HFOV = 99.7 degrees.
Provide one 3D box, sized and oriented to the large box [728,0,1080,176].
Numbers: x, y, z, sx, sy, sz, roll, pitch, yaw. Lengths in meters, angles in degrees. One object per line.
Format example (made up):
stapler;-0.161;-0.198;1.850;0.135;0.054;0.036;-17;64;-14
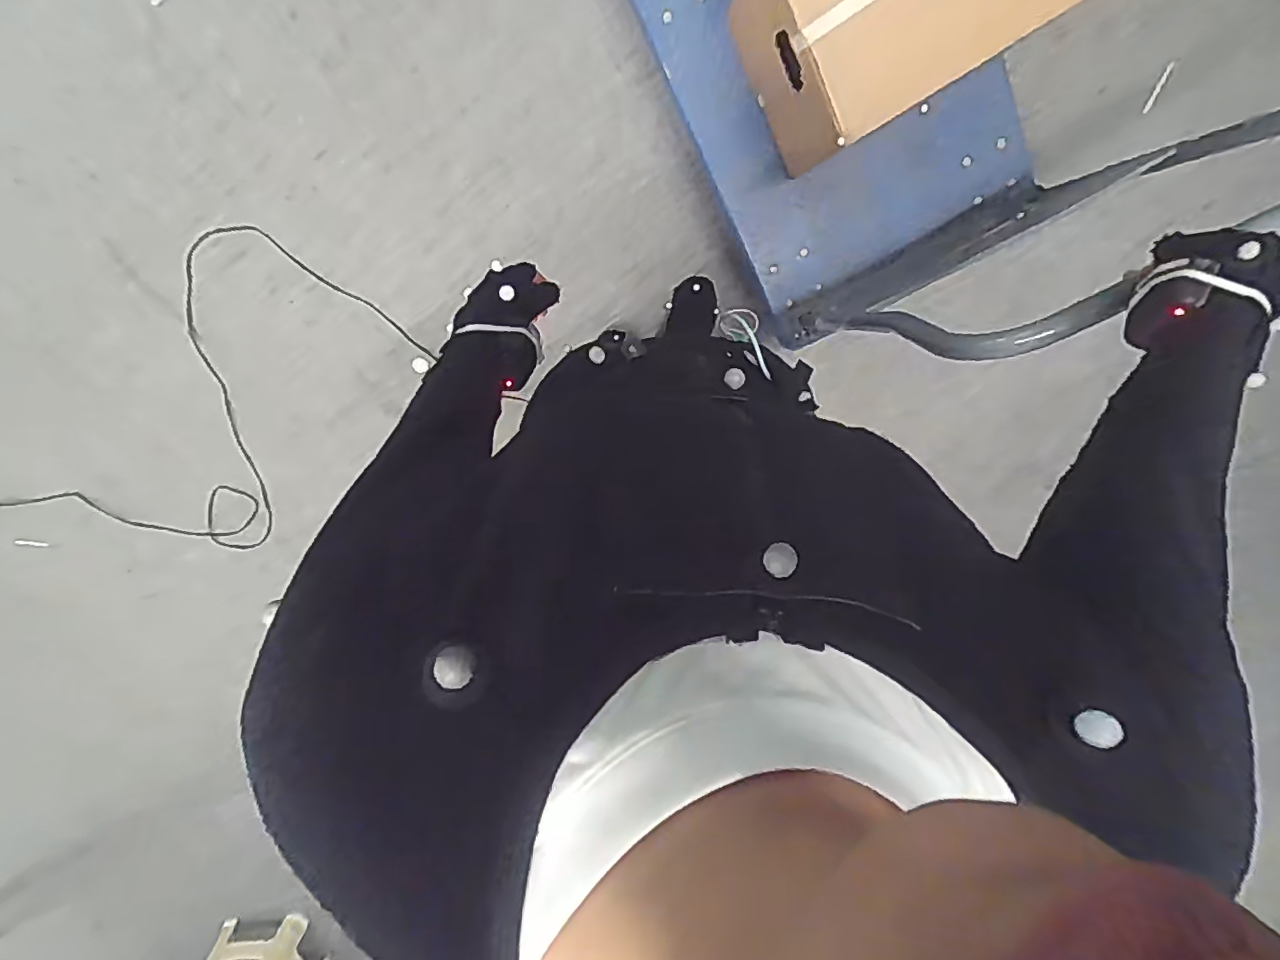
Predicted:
large box;0.405;-0.779;0.889;0.408;0.320;0.320;-28;107;12
